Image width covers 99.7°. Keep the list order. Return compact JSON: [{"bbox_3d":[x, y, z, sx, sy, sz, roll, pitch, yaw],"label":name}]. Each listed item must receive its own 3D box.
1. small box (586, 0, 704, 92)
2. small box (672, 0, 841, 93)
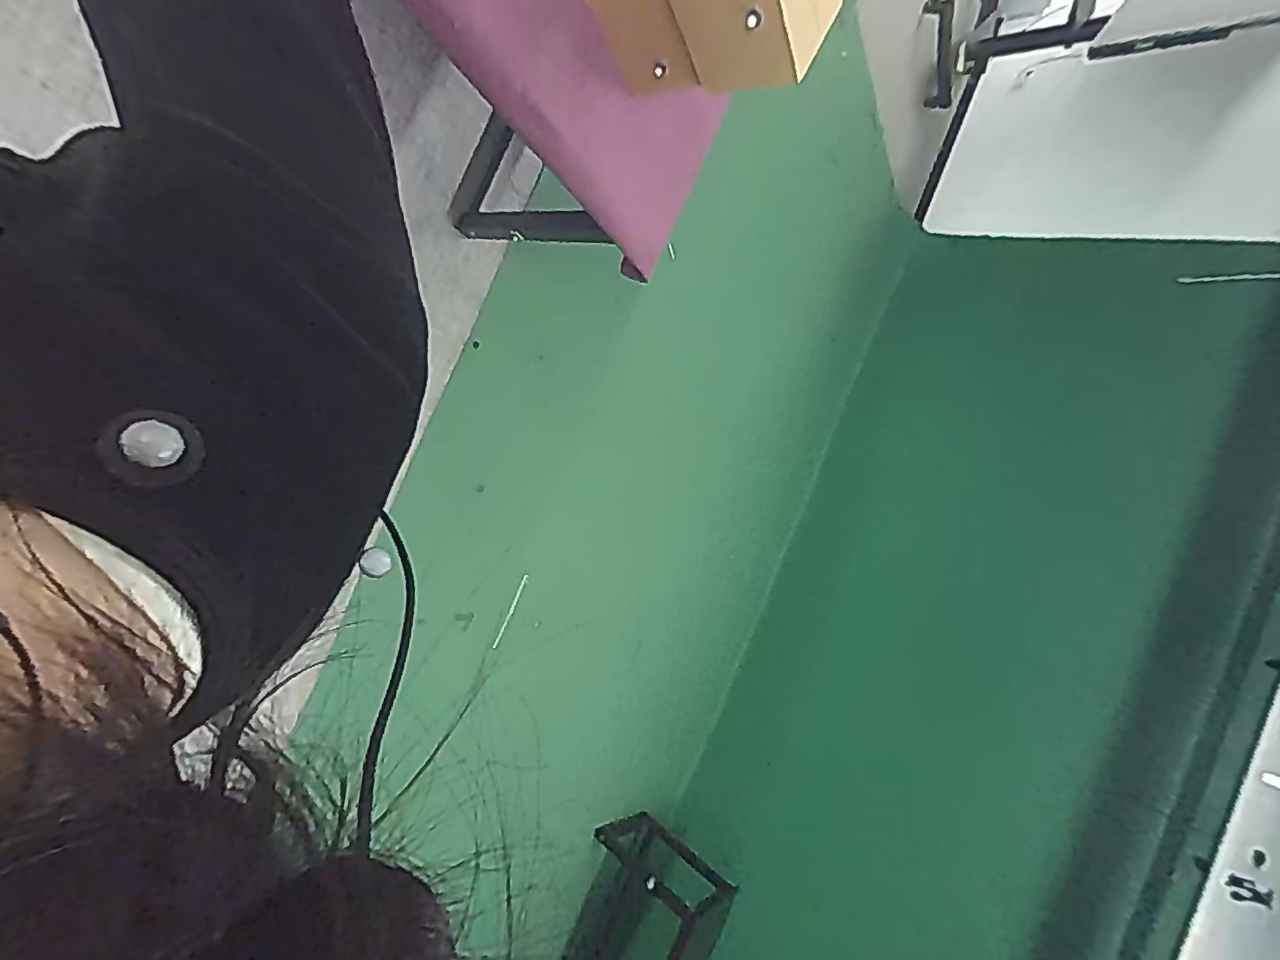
[{"bbox_3d":[0.045,-0.769,0.876,0.179,0.176,0.168,41,73,-51],"label":"small box"},{"bbox_3d":[0.166,-0.706,0.785,0.179,0.176,0.168,41,74,-52],"label":"small box"}]
